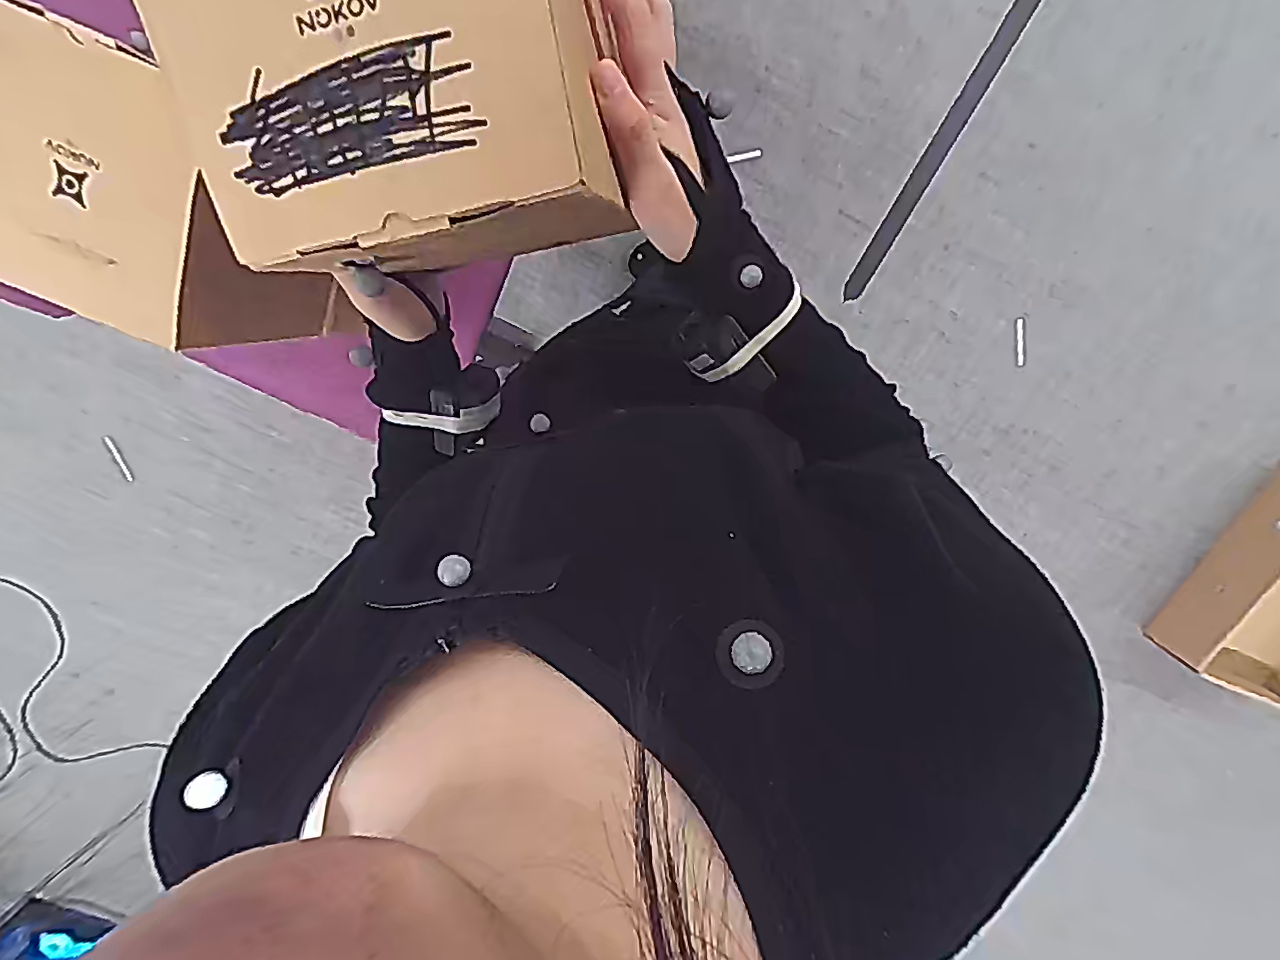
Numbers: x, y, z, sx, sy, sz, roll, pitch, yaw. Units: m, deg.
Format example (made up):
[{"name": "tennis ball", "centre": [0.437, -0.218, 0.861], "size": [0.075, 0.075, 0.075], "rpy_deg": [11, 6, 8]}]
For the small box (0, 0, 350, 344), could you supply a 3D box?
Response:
[{"name": "small box", "centre": [-0.364, -0.228, 0.431], "size": [0.168, 0.176, 0.179], "rpy_deg": [22, 109, -3]}]

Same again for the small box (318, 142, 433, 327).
[{"name": "small box", "centre": [-0.357, -0.279, 0.585], "size": [0.179, 0.176, 0.168], "rpy_deg": [23, 108, -6]}]
